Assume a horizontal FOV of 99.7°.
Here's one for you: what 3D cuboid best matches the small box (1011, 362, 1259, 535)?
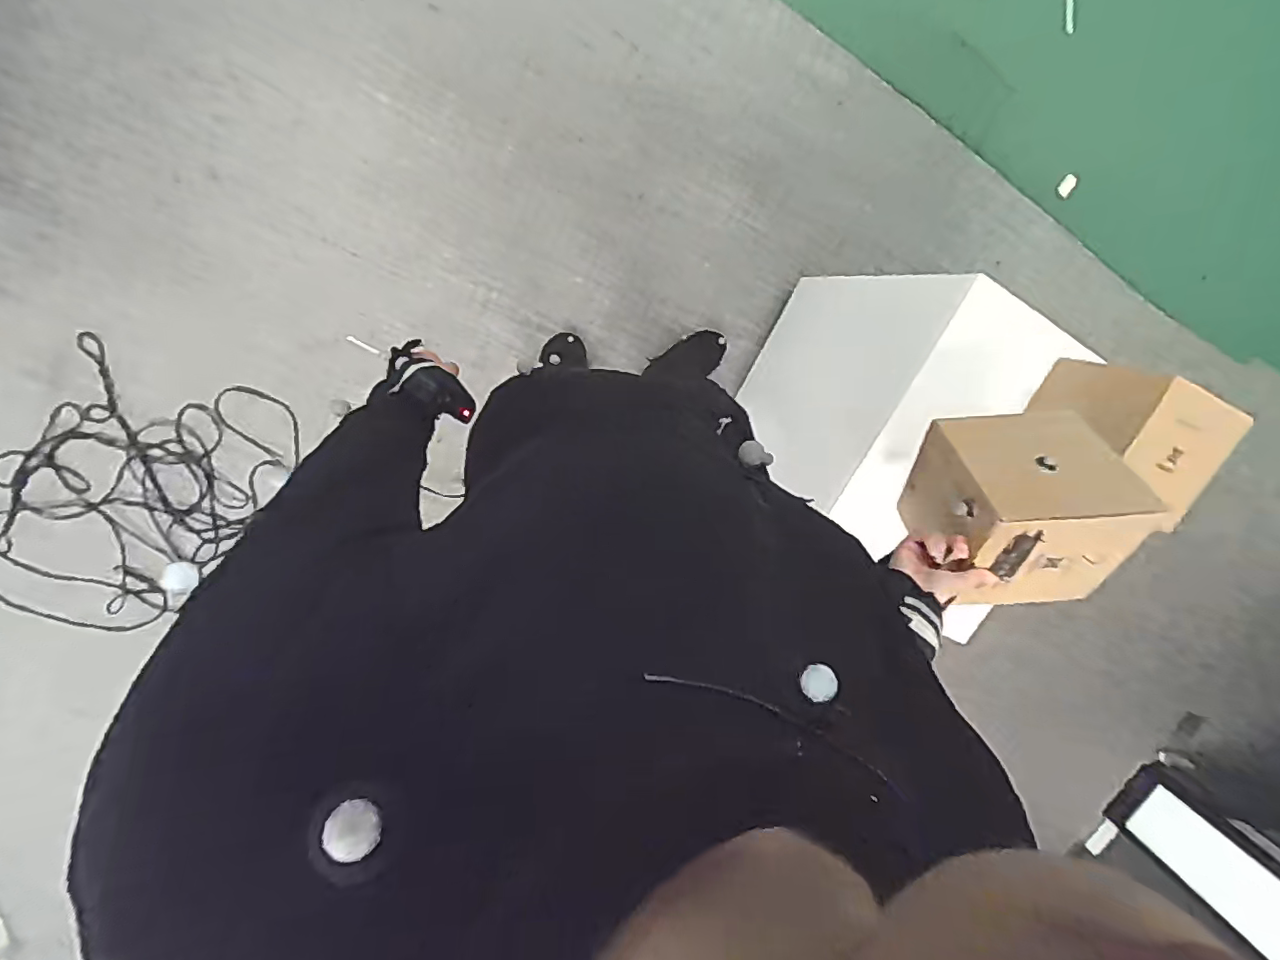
[{"bbox_3d":[0.681,-0.052,0.771,0.168,0.176,0.179,19,105,-17],"label":"small box"}]
